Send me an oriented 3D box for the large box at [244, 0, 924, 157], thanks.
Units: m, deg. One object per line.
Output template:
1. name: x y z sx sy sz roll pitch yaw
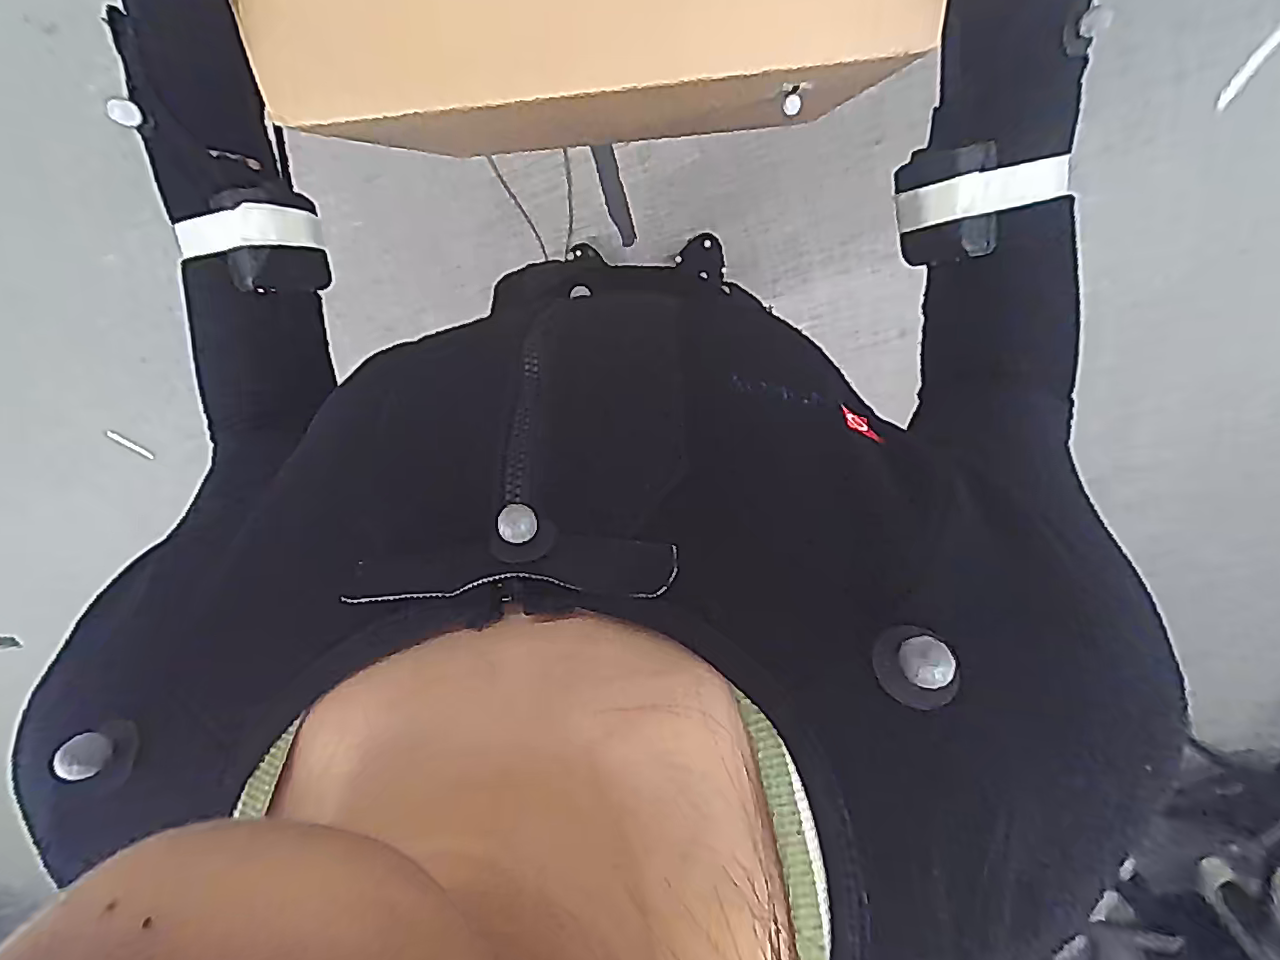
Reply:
1. large box: -0.039 -0.443 0.397 0.408 0.320 0.320 -3 117 5
